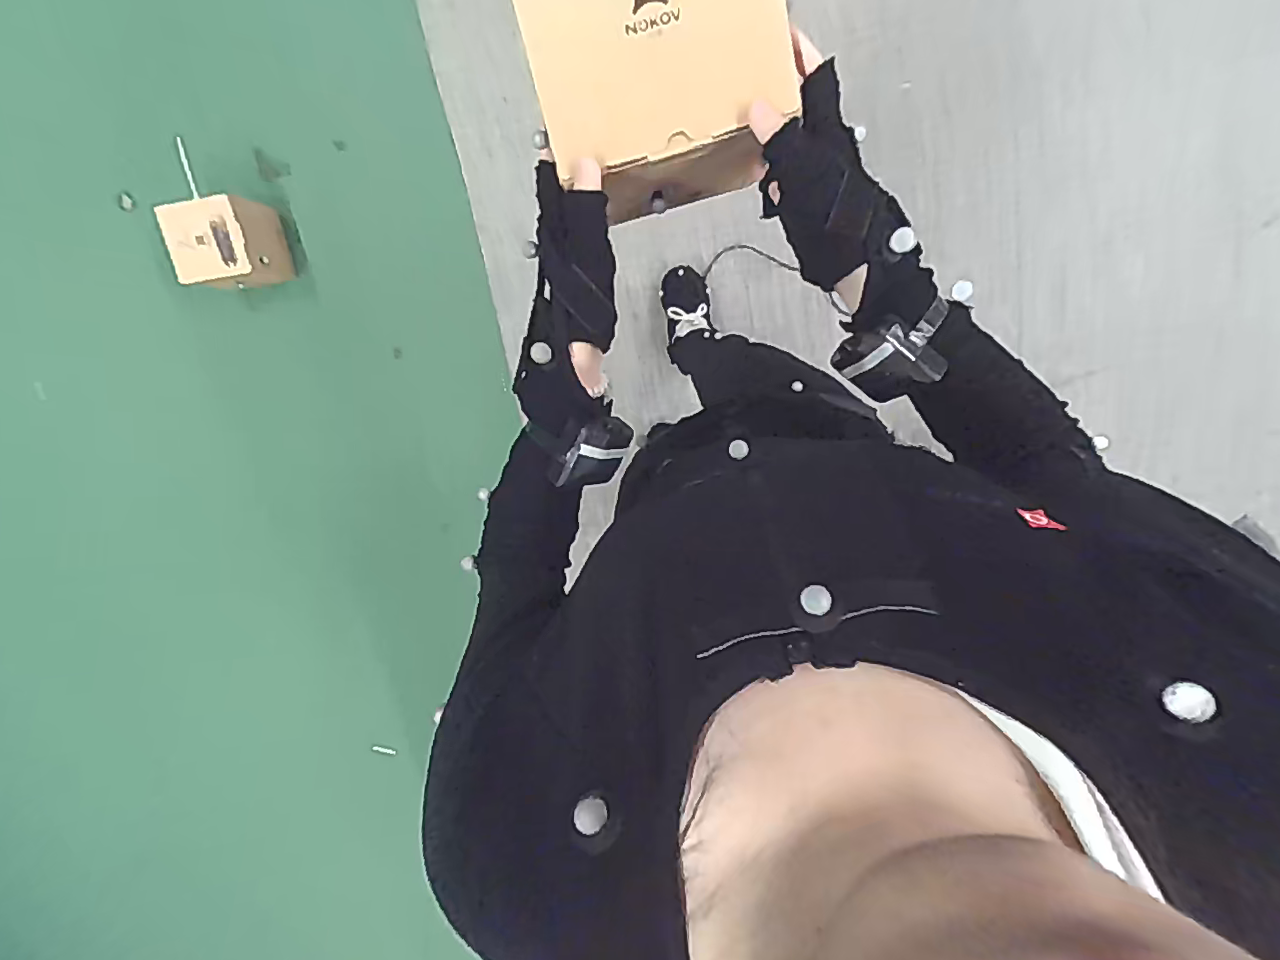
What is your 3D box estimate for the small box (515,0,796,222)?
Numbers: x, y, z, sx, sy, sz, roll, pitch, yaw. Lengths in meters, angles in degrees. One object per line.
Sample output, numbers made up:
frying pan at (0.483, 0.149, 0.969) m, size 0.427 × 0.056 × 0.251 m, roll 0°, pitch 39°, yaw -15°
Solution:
small box at (0.003, -0.323, 0.414) m, size 0.168 × 0.176 × 0.179 m, roll -14°, pitch 105°, yaw 4°
